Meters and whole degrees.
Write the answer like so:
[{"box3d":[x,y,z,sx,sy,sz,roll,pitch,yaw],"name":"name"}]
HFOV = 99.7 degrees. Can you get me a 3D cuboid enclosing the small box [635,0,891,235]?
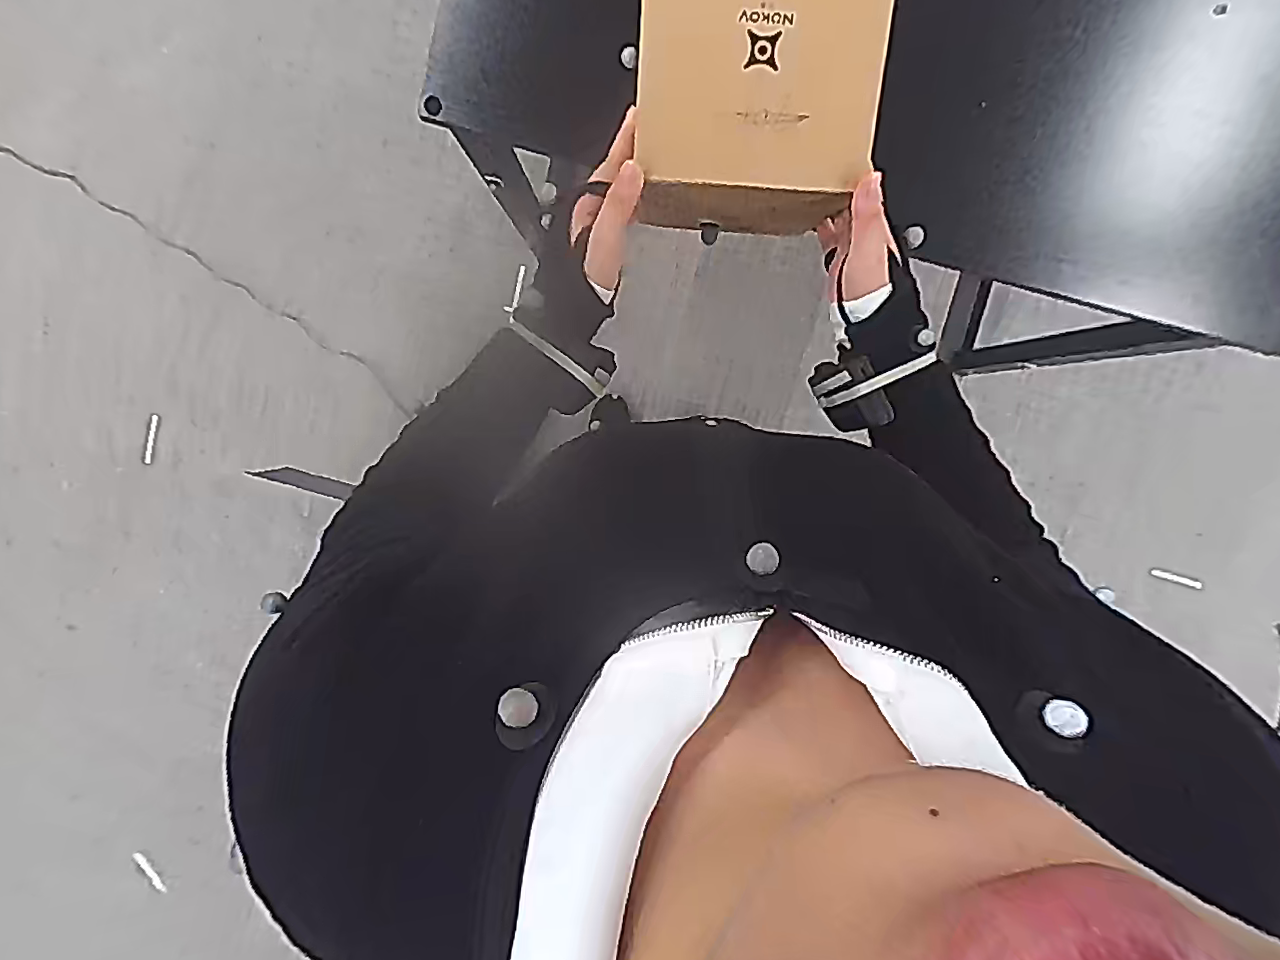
[{"box3d":[0.083,-0.315,0.443,0.168,0.176,0.179,4,105,0],"name":"small box"}]
